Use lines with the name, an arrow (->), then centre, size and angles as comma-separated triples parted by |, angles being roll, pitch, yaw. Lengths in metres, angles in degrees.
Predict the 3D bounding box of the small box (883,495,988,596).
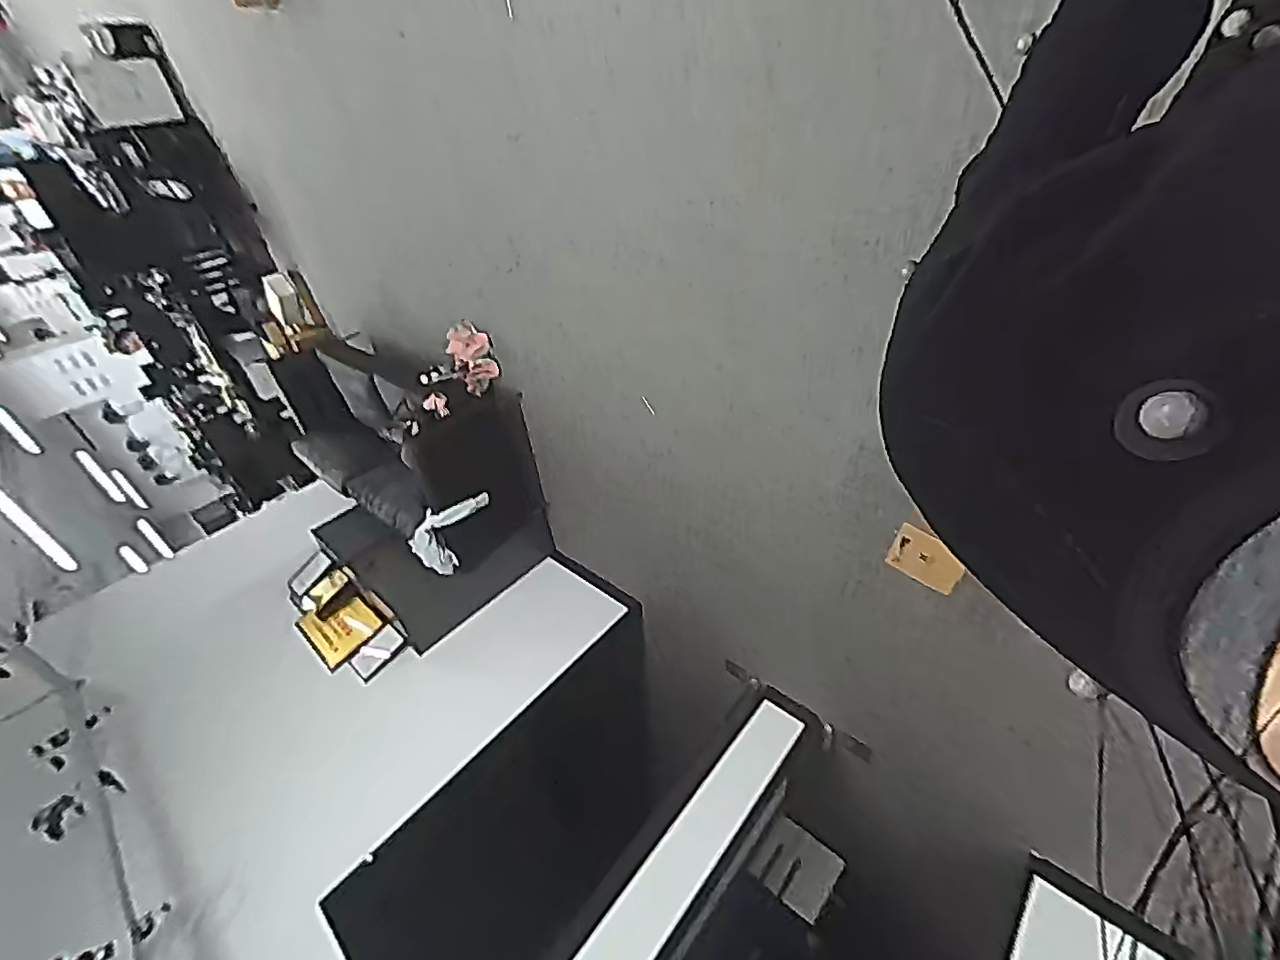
small box -> 0.788, 0.167, 1.442 | 0.179, 0.176, 0.168 | 31, 139, 27
